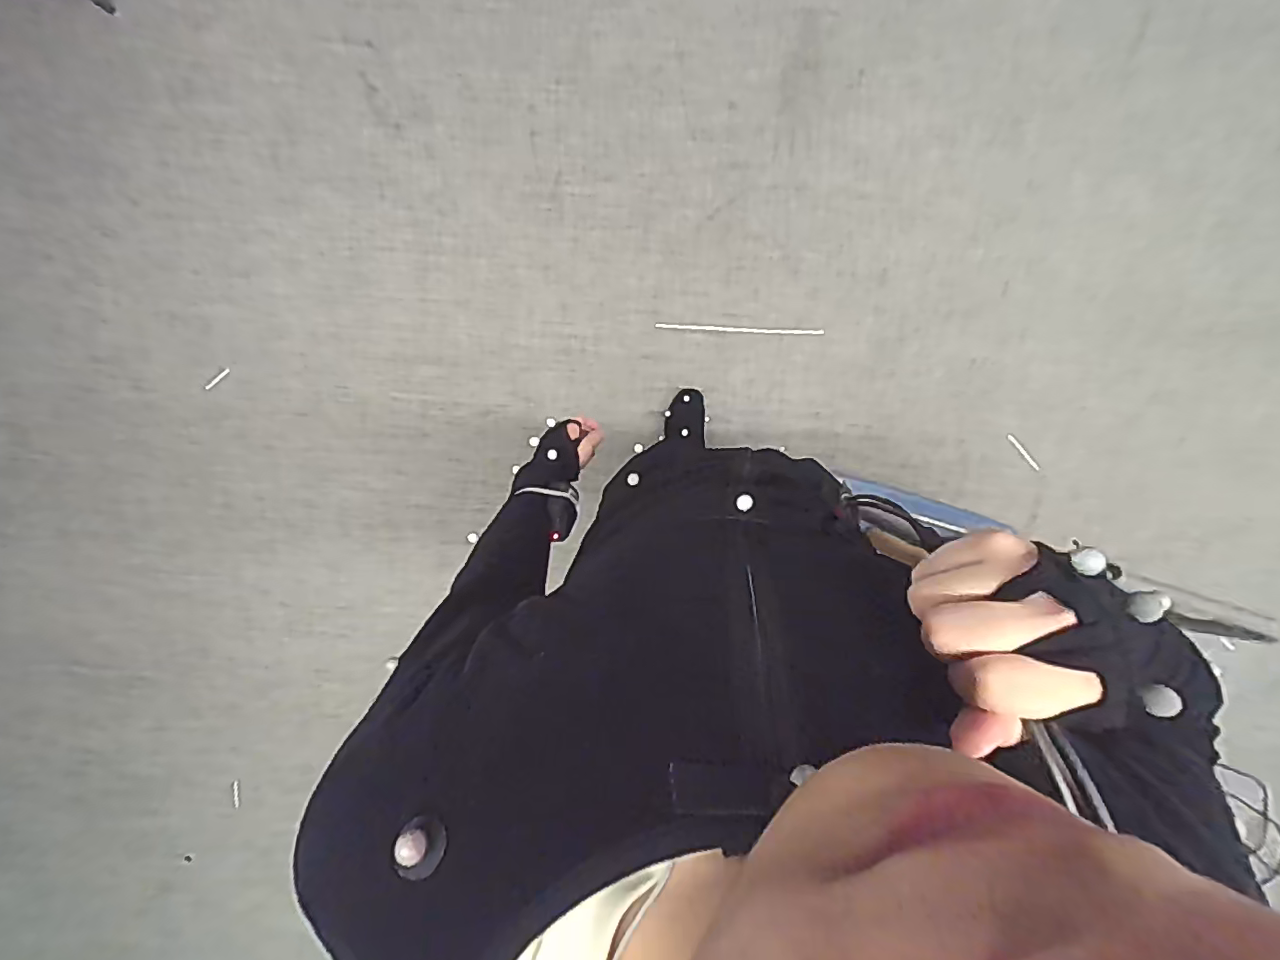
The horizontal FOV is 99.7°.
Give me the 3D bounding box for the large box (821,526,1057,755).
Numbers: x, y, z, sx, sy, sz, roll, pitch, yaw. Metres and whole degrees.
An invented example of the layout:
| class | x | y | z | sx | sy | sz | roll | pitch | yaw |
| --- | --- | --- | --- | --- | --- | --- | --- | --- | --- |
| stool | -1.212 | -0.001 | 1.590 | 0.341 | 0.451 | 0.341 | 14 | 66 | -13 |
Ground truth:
| class | x | y | z | sx | sy | sz | roll | pitch | yaw |
| --- | --- | --- | --- | --- | --- | --- | --- | --- | --- |
| large box | 0.700 | 0.370 | 1.333 | 0.320 | 0.320 | 0.408 | 17 | 100 | -1 |
